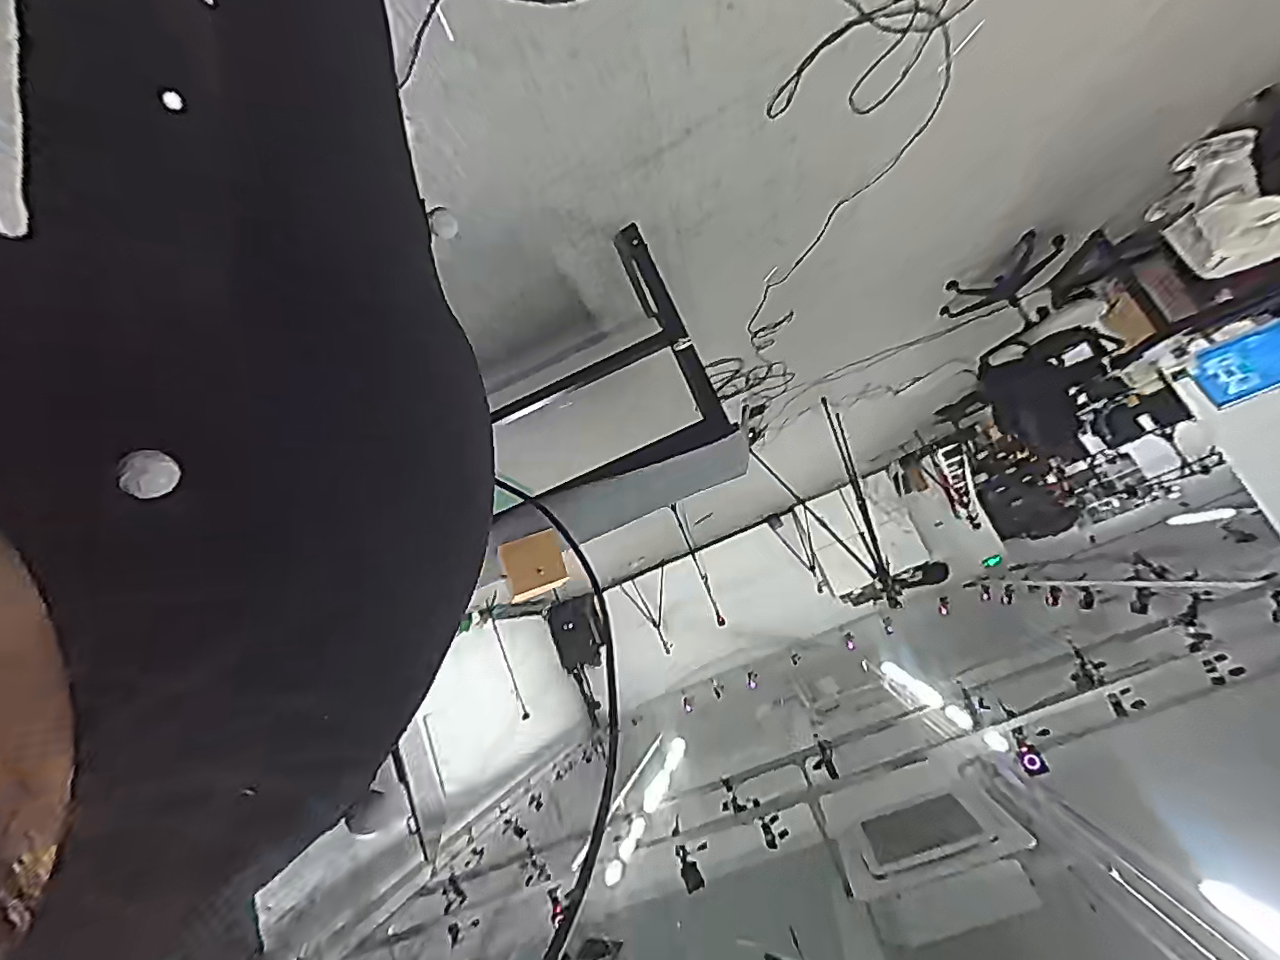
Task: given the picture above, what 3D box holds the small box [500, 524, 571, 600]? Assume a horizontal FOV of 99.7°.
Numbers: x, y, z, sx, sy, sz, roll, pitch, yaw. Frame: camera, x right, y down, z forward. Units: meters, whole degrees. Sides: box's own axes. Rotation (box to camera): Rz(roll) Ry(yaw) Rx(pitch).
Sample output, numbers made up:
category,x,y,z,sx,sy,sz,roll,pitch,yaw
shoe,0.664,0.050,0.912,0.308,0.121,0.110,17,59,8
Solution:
category,x,y,z,sx,sy,sz,roll,pitch,yaw
small box,-0.339,0.260,1.720,0.179,0.176,0.168,-18,166,-22
